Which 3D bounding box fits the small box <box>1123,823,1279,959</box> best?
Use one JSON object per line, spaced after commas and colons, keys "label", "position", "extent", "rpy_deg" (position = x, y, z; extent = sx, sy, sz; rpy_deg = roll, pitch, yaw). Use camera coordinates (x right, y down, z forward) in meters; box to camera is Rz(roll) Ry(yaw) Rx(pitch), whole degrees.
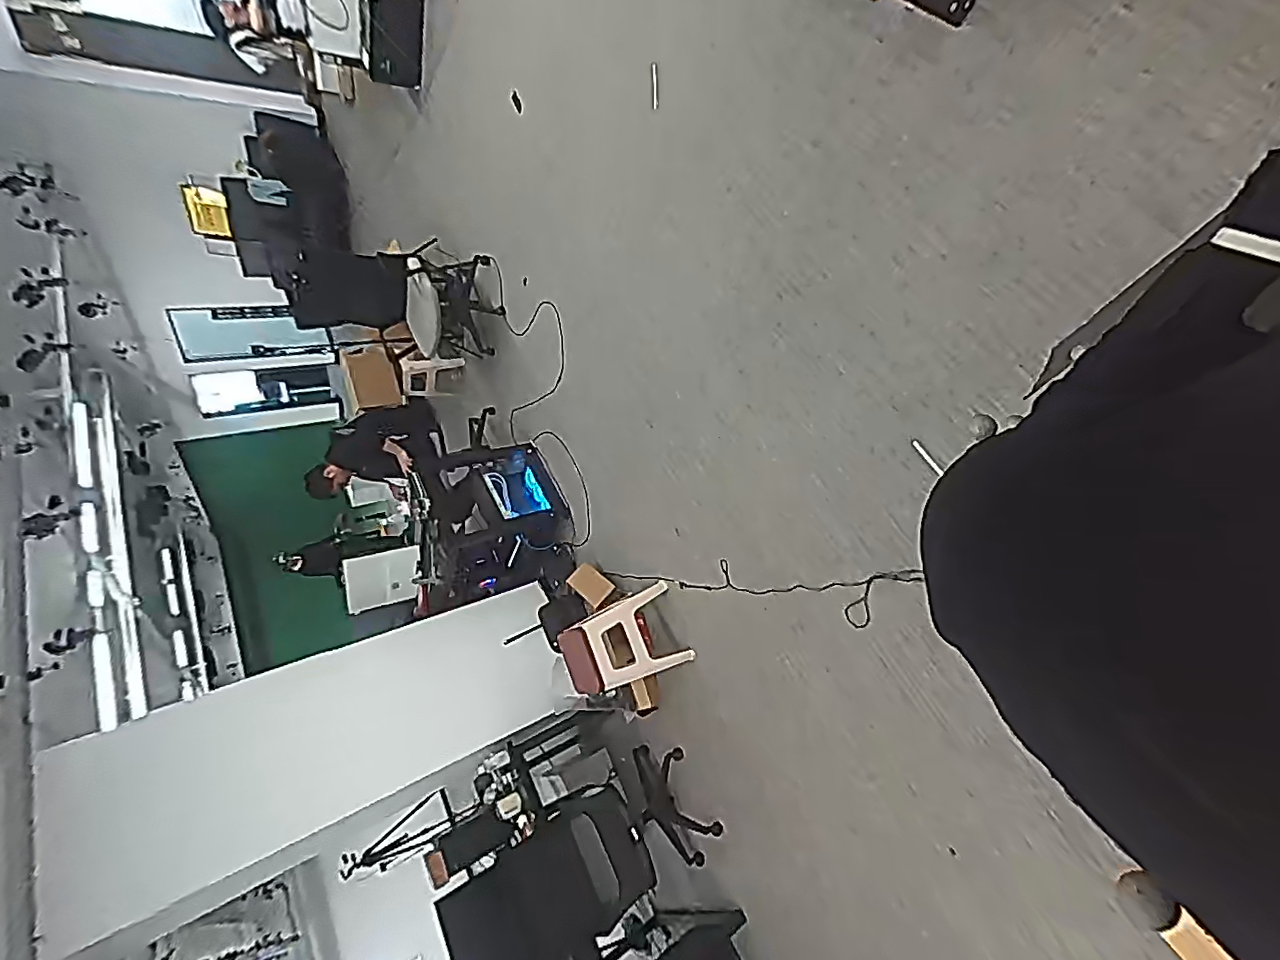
{"label": "small box", "position": [0.999, 0.723, 0.923], "extent": [0.179, 0.176, 0.168], "rpy_deg": [53, 141, 29]}
